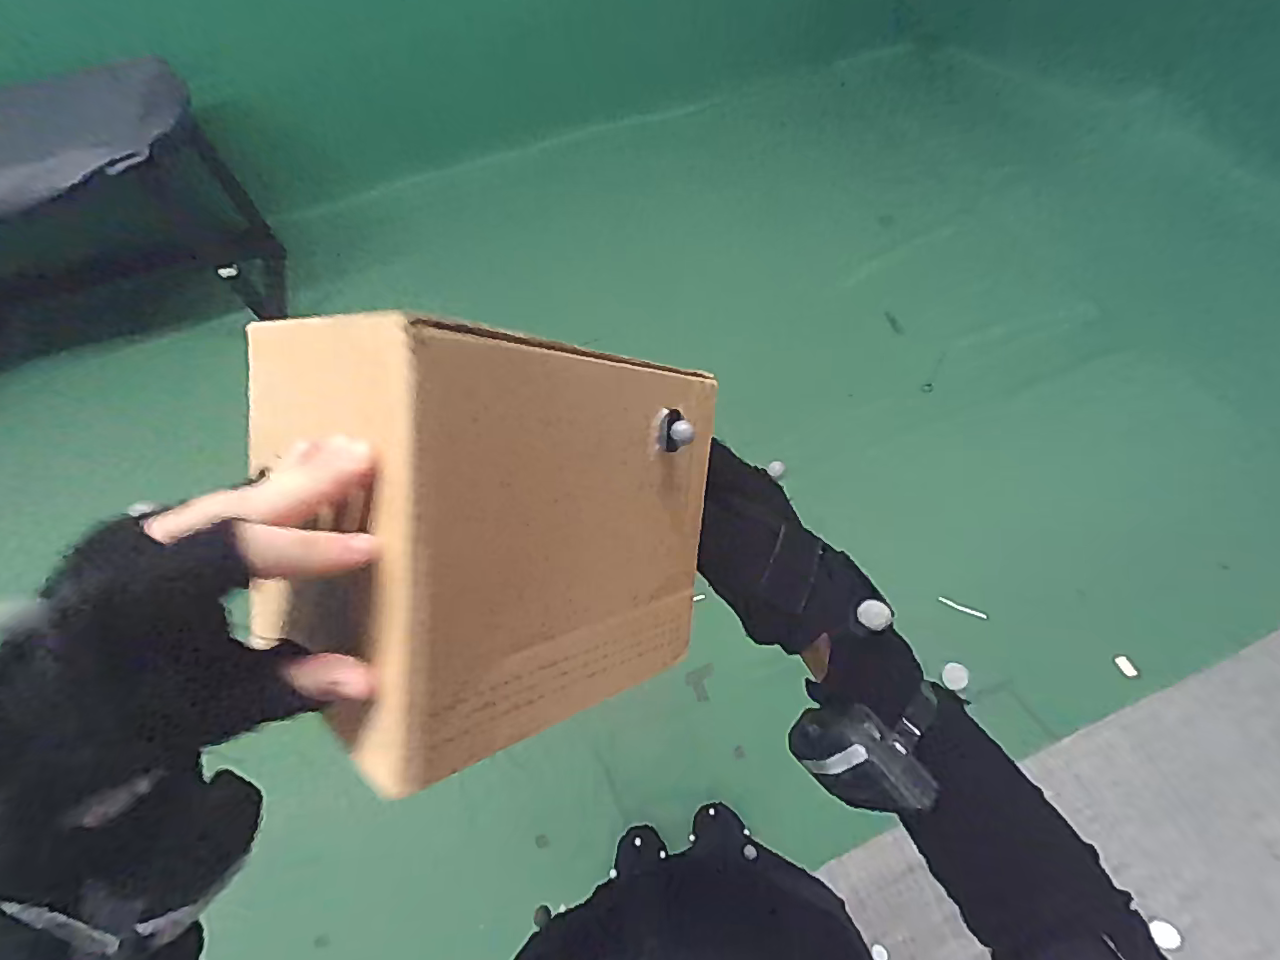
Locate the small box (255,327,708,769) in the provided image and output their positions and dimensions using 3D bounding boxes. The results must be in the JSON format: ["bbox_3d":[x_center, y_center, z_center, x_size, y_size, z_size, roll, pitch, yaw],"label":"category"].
[{"bbox_3d":[-0.082,0.016,0.296,0.168,0.179,0.176,13,102,39],"label":"small box"}]
